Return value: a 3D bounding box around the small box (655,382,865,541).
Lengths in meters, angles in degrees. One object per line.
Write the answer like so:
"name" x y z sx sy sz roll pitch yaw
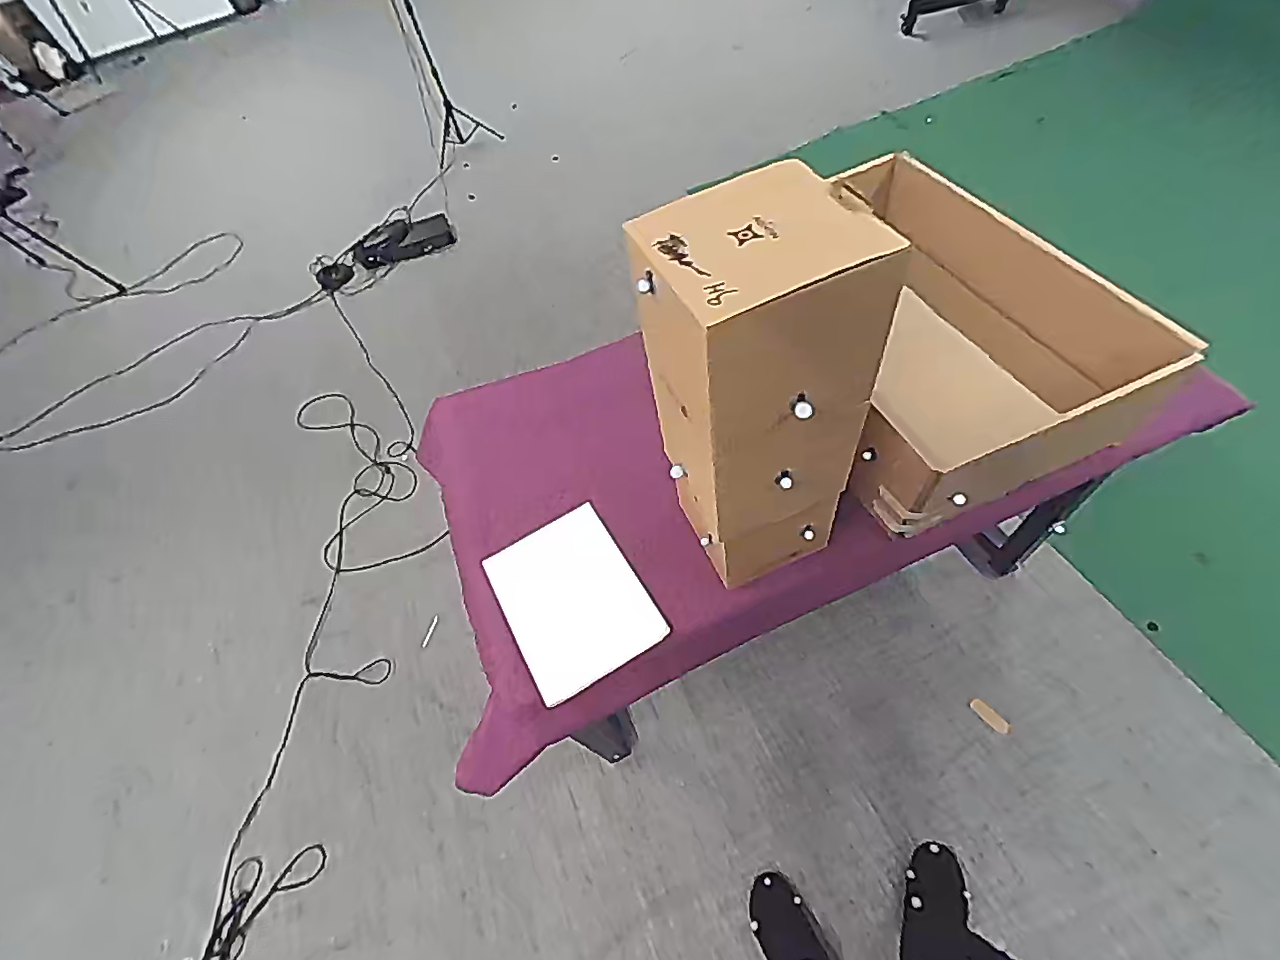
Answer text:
"small box" 0.129 -0.058 0.638 0.179 0.176 0.168 -23 54 -4

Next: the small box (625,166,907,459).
"small box" 0.103 -0.150 0.504 0.179 0.176 0.168 -23 54 -6
